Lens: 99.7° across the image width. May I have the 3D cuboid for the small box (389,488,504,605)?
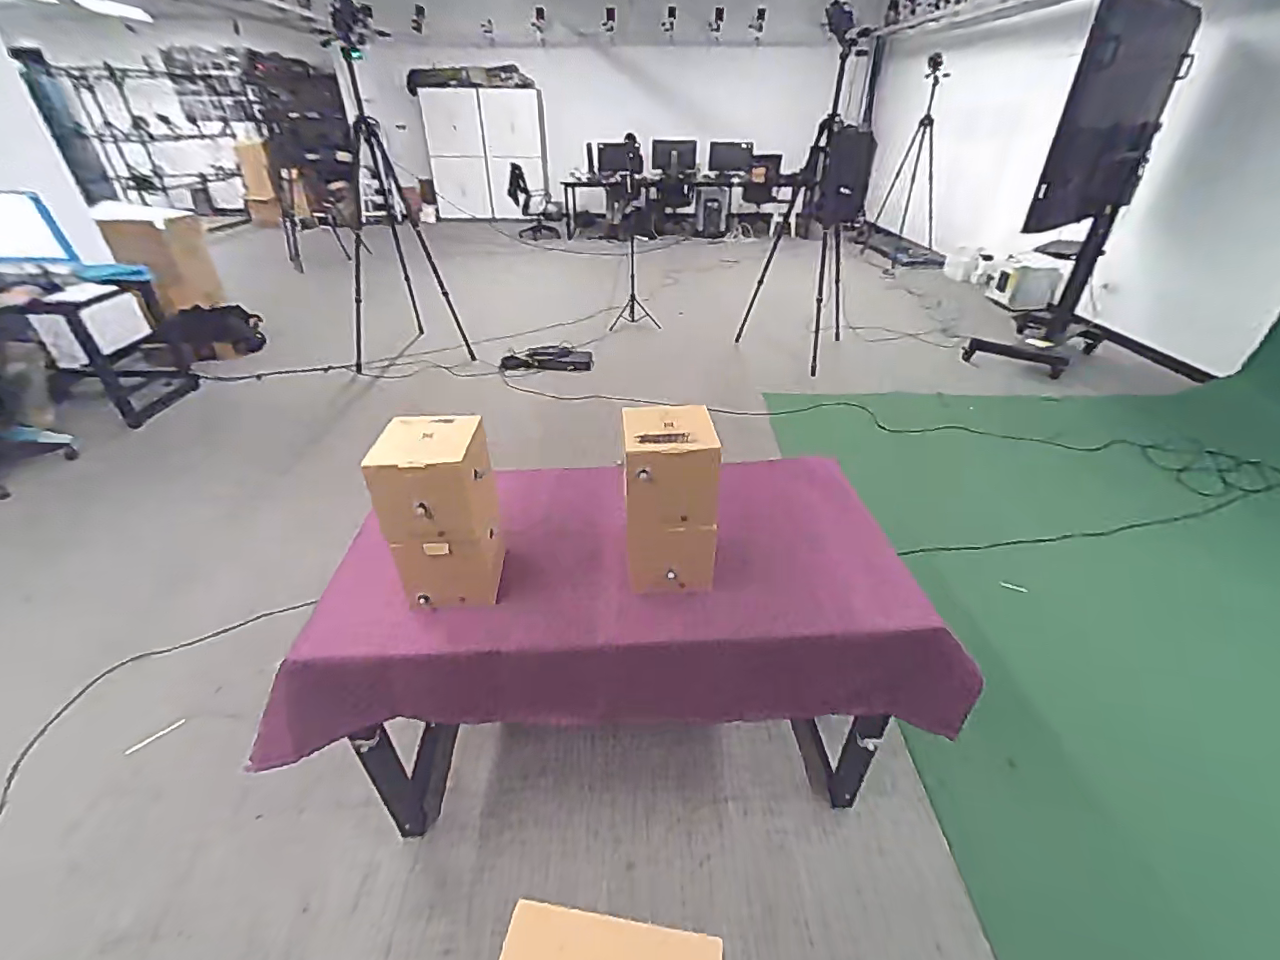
[{"bbox_3d":[-0.373,0.135,1.082,0.168,0.176,0.179,-2,33,-4],"label":"small box"}]

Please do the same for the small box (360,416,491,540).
[{"bbox_3d":[-0.377,-0.002,0.991,0.168,0.176,0.179,-1,35,-2],"label":"small box"}]

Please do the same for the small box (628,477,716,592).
[{"bbox_3d":[0.059,0.110,1.114,0.168,0.176,0.179,-1,34,-1],"label":"small box"}]
